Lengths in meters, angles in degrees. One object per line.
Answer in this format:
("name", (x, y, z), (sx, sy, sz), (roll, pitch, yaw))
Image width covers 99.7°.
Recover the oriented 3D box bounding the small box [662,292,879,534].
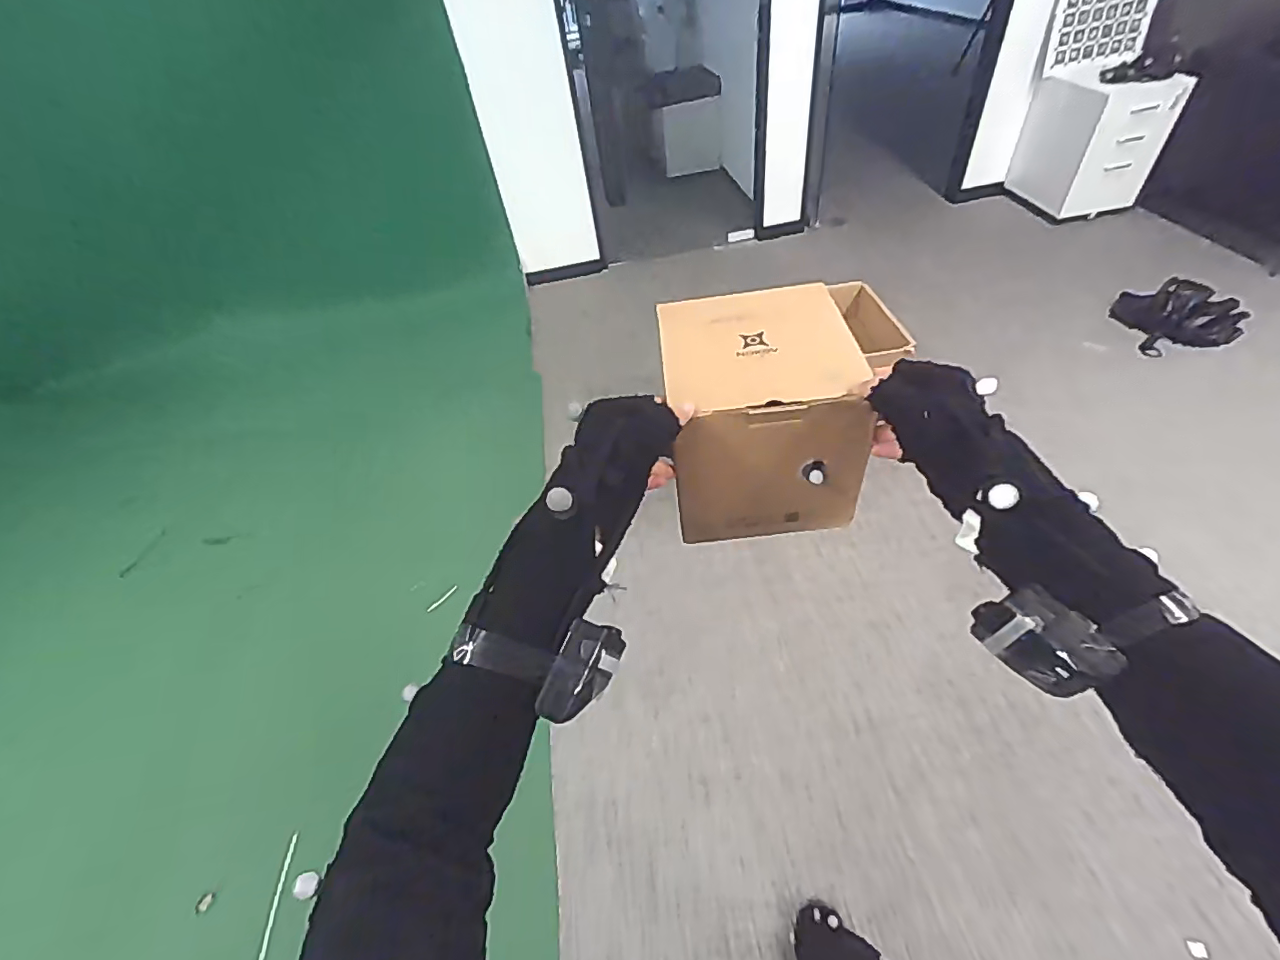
("small box", (0.115, -0.060, 0.537), (0.168, 0.176, 0.179), (-6, 45, 3))
